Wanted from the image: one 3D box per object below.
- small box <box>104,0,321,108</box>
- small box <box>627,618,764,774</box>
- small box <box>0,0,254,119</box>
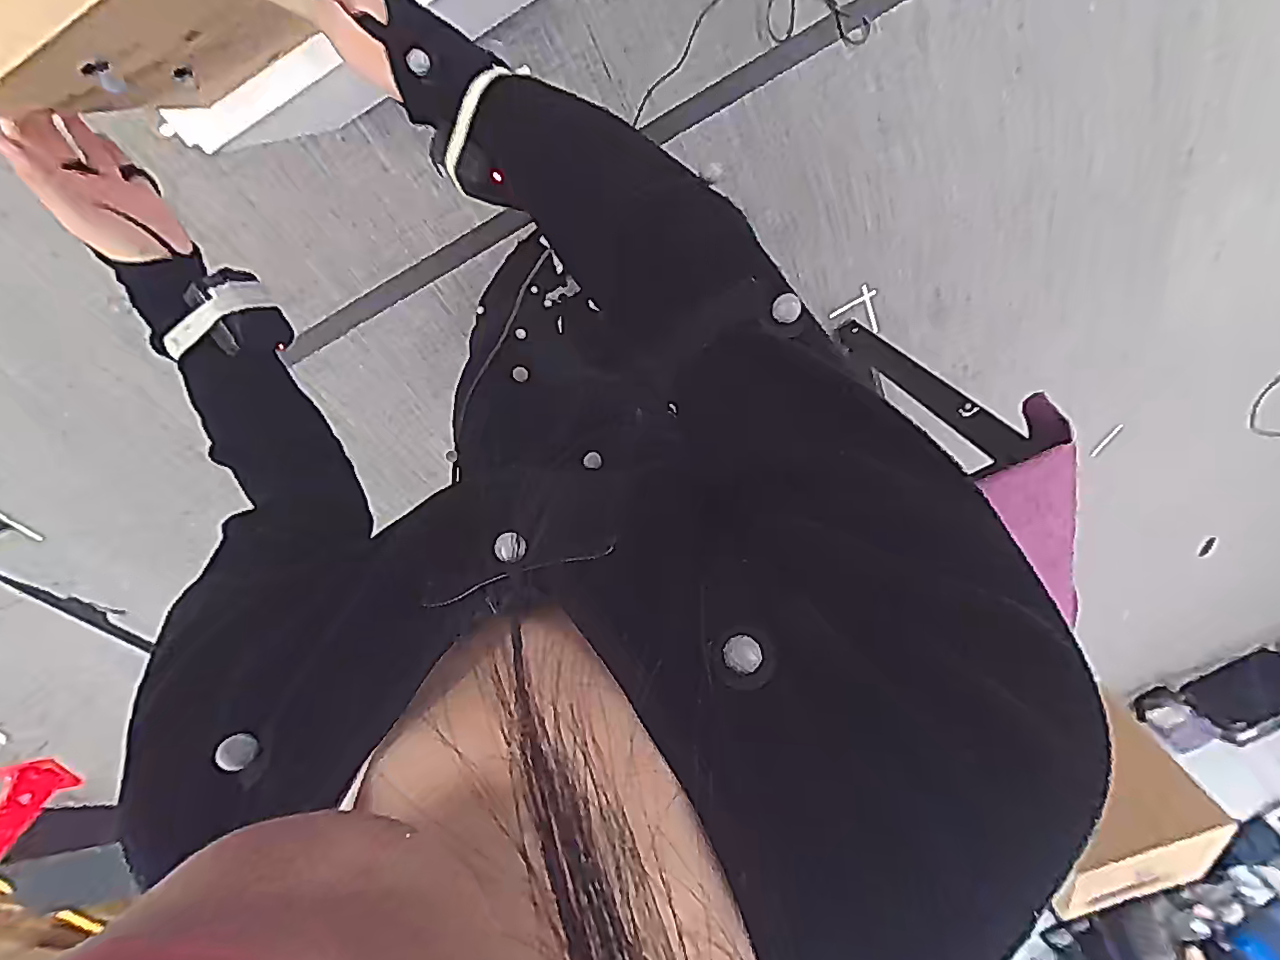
[{"bbox_3d":[-0.412,-0.439,0.446,0.168,0.176,0.179,-27,125,7],"label":"small box"},{"bbox_3d":[0.095,0.380,0.964,0.168,0.176,0.179,-29,124,6],"label":"small box"},{"bbox_3d":[-0.381,-0.346,0.315,0.168,0.176,0.179,-28,125,8],"label":"small box"}]
